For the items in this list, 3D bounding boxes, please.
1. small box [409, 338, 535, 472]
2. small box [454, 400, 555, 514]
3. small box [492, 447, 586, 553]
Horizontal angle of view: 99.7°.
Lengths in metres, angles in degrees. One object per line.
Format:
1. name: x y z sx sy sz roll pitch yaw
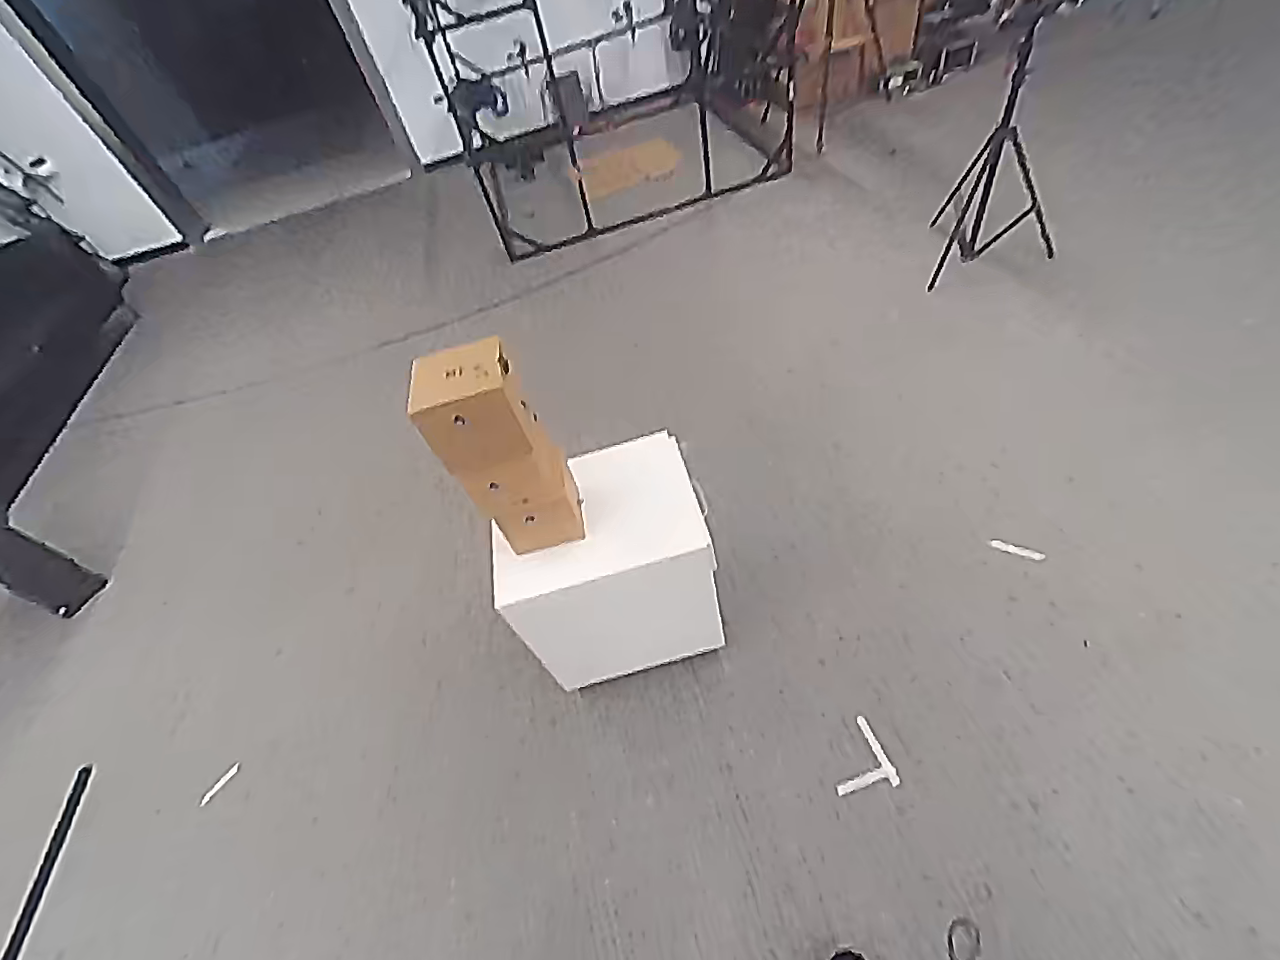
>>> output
1. small box: -0.318 -0.139 1.046 0.179 0.176 0.168 -16 49 0
2. small box: -0.288 -0.045 1.179 0.168 0.176 0.179 -14 48 2
3. small box: -0.240 0.053 1.300 0.179 0.176 0.168 -15 49 1
